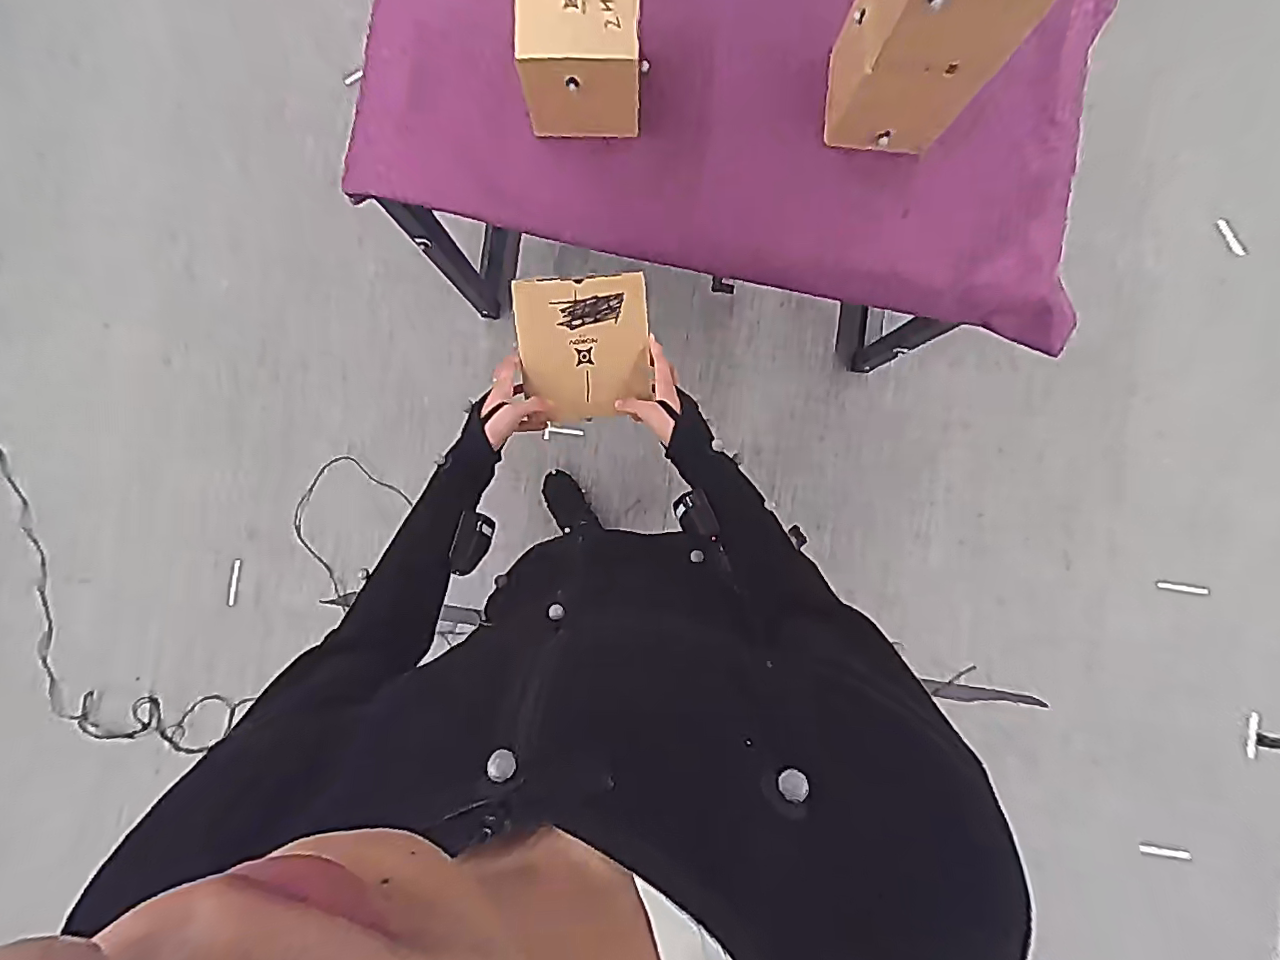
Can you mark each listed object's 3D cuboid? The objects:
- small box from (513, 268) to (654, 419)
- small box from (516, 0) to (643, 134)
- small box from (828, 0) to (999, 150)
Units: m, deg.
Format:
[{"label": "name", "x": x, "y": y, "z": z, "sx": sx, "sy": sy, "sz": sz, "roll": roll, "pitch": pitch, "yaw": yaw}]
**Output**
[{"label": "small box", "x": -0.074, "y": -0.184, "z": 0.745, "sx": 0.168, "sy": 0.176, "sz": 0.179, "roll": -5, "pitch": 104, "yaw": -3}, {"label": "small box", "x": -0.084, "y": -0.664, "z": 0.829, "sx": 0.179, "sy": 0.176, "sz": 0.168, "roll": 1, "pitch": 89, "yaw": -1}, {"label": "small box", "x": 0.412, "y": -0.642, "z": 0.833, "sx": 0.179, "sy": 0.176, "sz": 0.168, "roll": 5, "pitch": 89, "yaw": -1}]
